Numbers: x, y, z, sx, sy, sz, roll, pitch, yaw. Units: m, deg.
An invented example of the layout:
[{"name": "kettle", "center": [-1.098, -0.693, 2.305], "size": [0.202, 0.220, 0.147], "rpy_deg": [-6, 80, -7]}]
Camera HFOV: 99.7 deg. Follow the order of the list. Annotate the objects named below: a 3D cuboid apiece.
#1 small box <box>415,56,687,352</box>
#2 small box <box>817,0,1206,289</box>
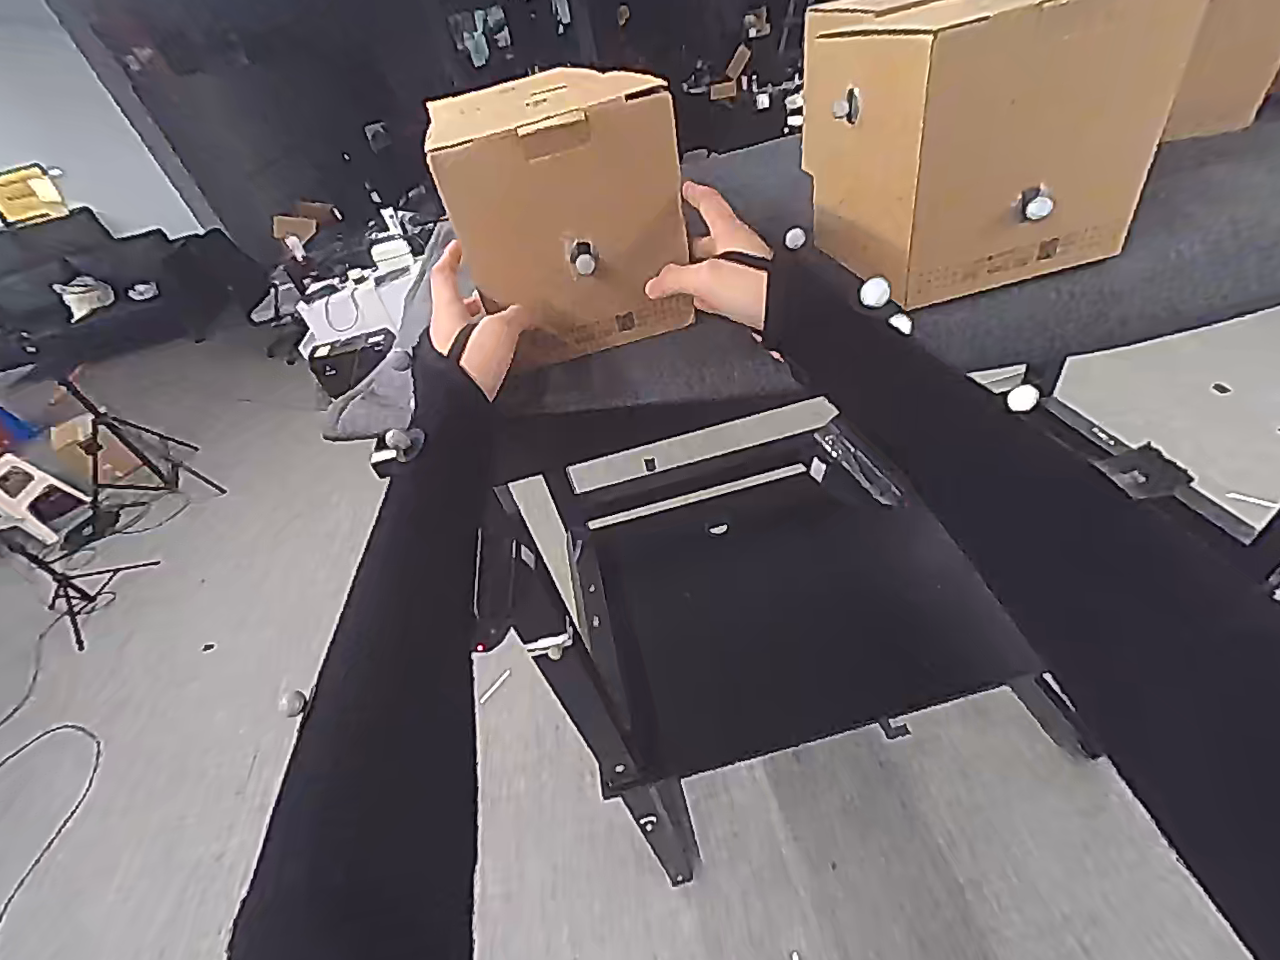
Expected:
[{"name": "small box", "center": [-0.067, -0.225, 0.451], "size": [0.168, 0.176, 0.179], "rpy_deg": [-17, 42, -4]}, {"name": "small box", "center": [0.242, -0.266, 0.407], "size": [0.168, 0.176, 0.179], "rpy_deg": [-15, 40, 1]}]
